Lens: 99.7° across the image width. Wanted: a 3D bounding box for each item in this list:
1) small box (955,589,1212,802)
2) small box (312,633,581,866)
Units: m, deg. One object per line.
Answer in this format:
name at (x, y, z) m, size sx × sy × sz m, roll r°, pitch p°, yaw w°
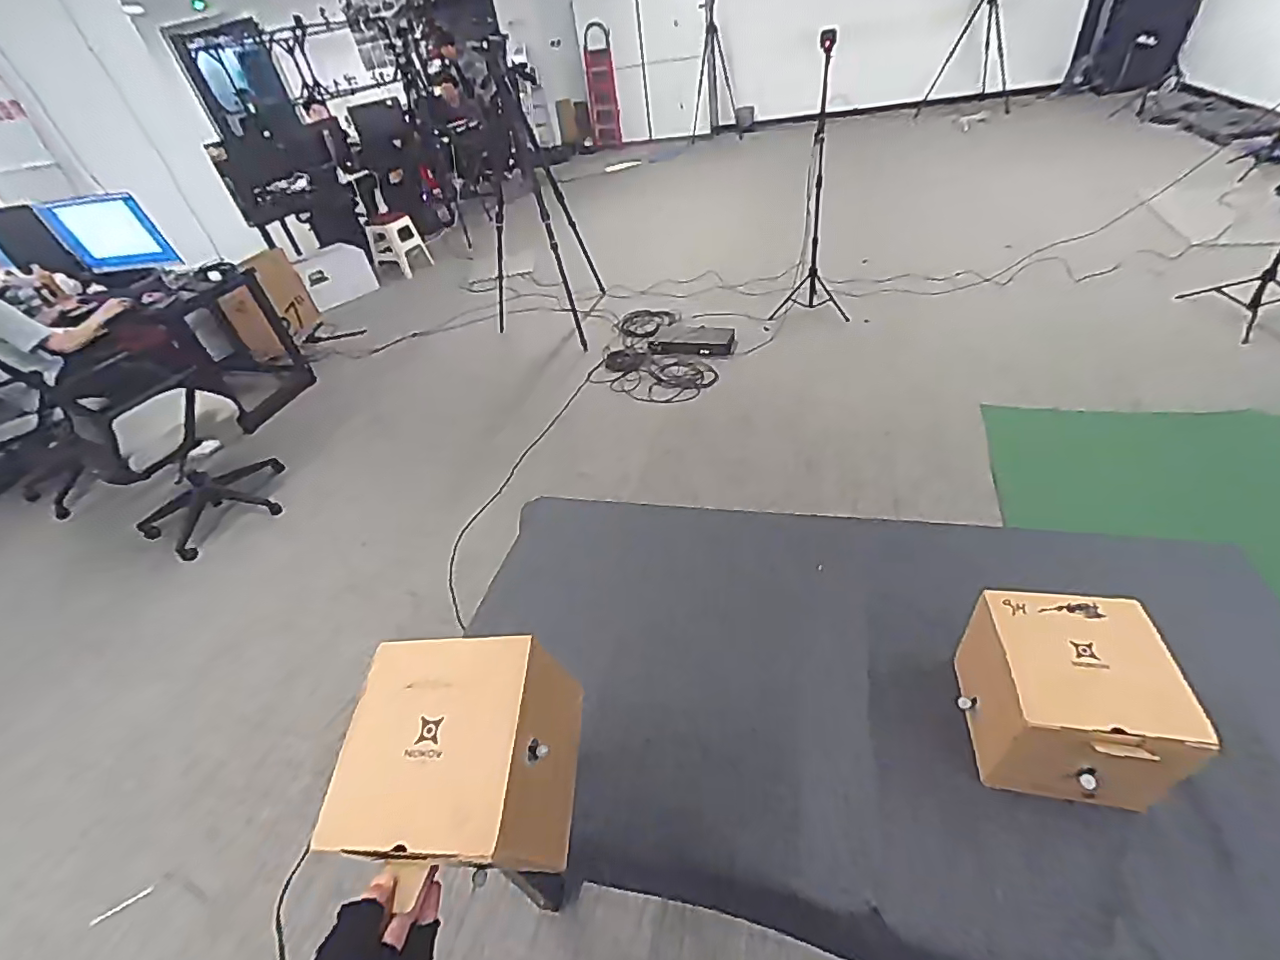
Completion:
small box at (0.502, 0.257, 0.649) m, size 0.168 × 0.176 × 0.179 m, roll 3°, pitch 43°, yaw 14°
small box at (-0.164, 0.266, 0.529) m, size 0.168 × 0.176 × 0.179 m, roll -5°, pitch 51°, yaw 11°
